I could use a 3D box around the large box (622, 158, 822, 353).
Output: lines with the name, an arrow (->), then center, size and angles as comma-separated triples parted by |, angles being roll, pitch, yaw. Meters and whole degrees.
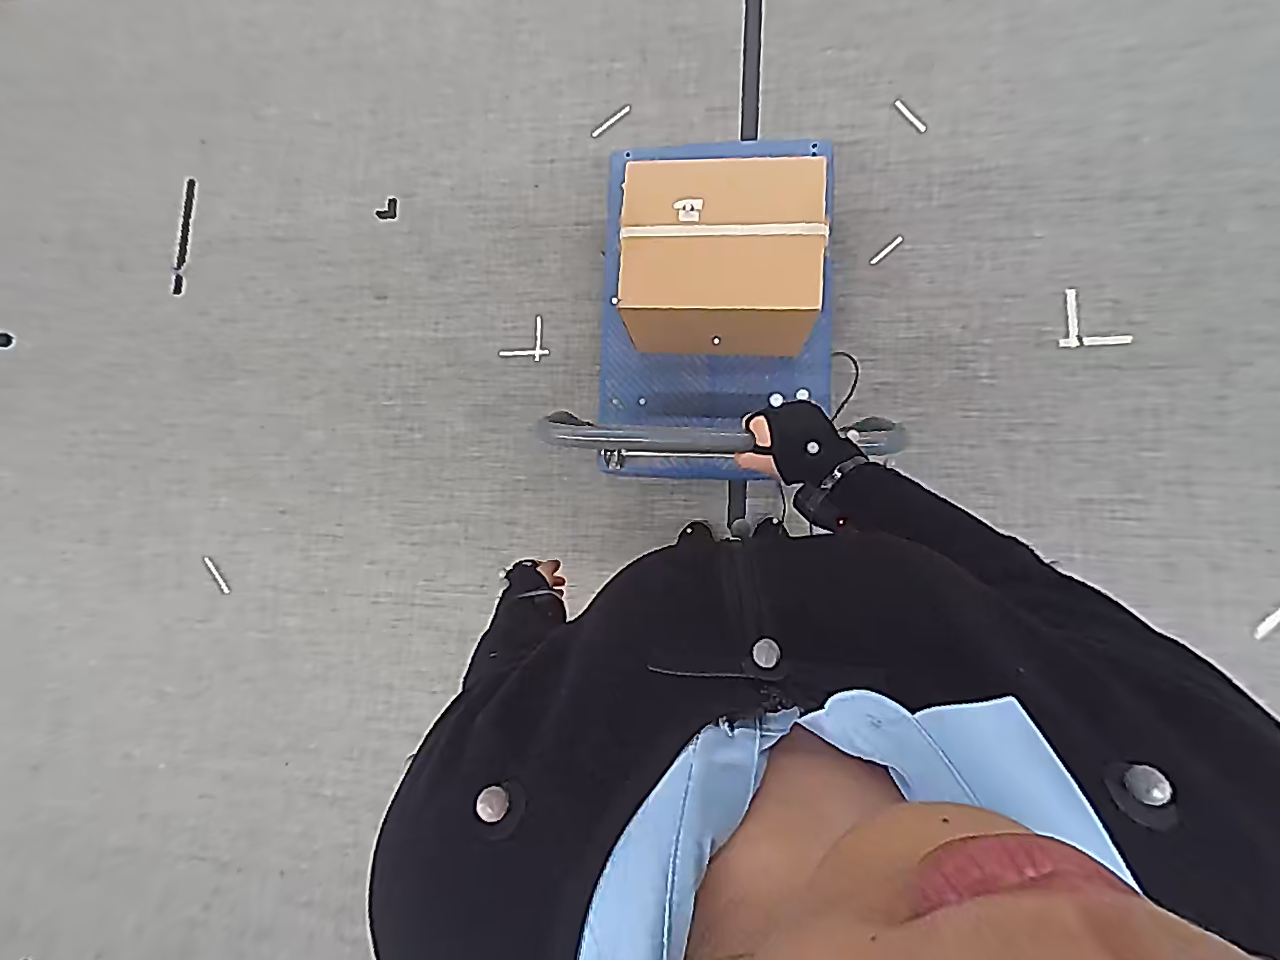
large box -> 0.187, -0.486, 1.245 | 0.408, 0.320, 0.320 | 2, 85, 9
